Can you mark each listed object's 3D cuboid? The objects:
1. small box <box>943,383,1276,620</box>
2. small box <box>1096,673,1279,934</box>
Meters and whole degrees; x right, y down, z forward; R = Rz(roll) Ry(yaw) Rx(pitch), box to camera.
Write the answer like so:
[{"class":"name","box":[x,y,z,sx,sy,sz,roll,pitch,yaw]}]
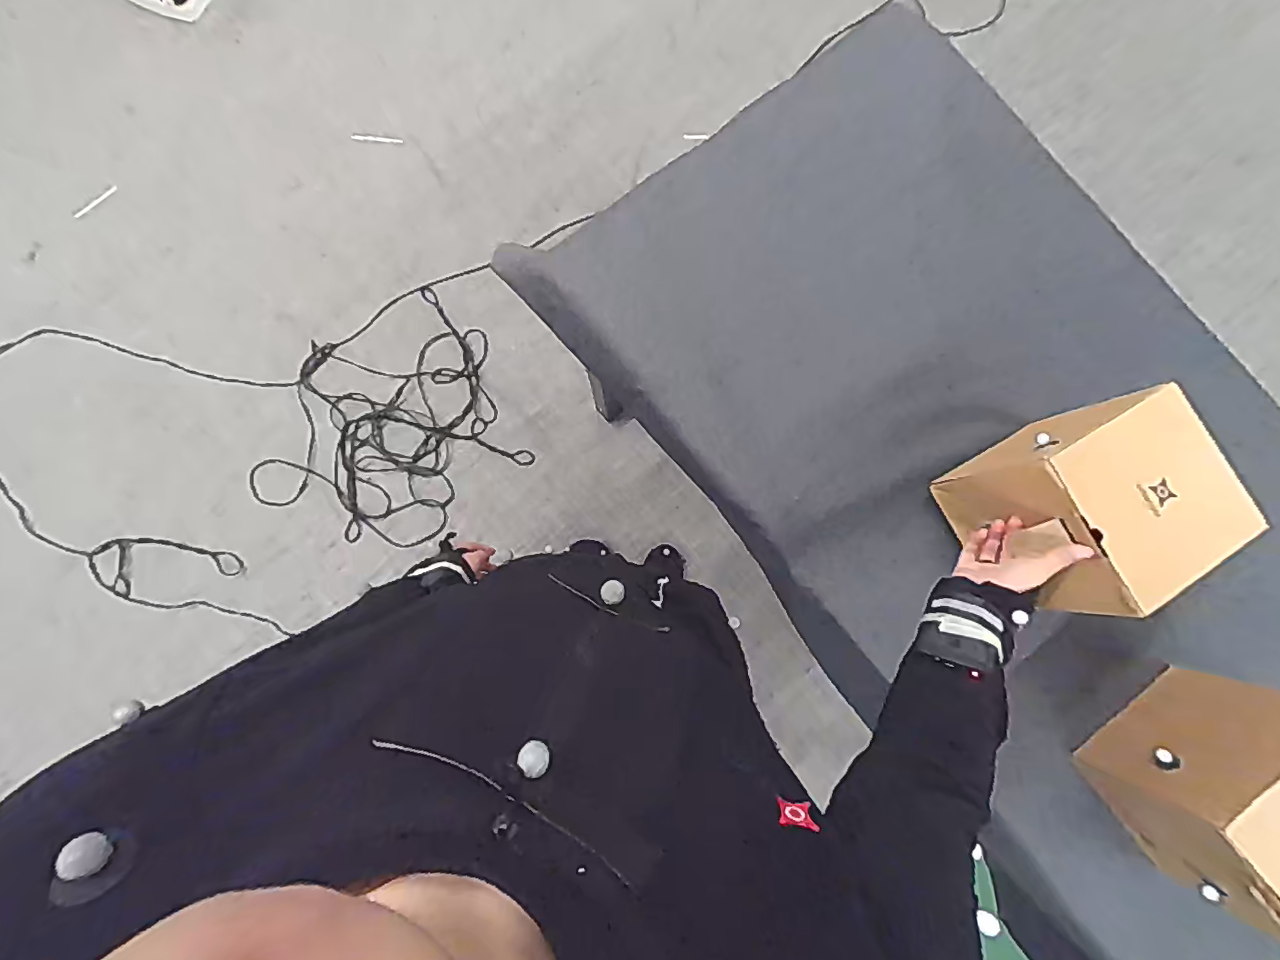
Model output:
[{"class":"small box","box":[0.474,0.026,0.574,0.179,0.176,0.168,-28,86,-11]},{"class":"small box","box":[0.629,0.331,0.554,0.179,0.176,0.168,-37,87,-6]}]
